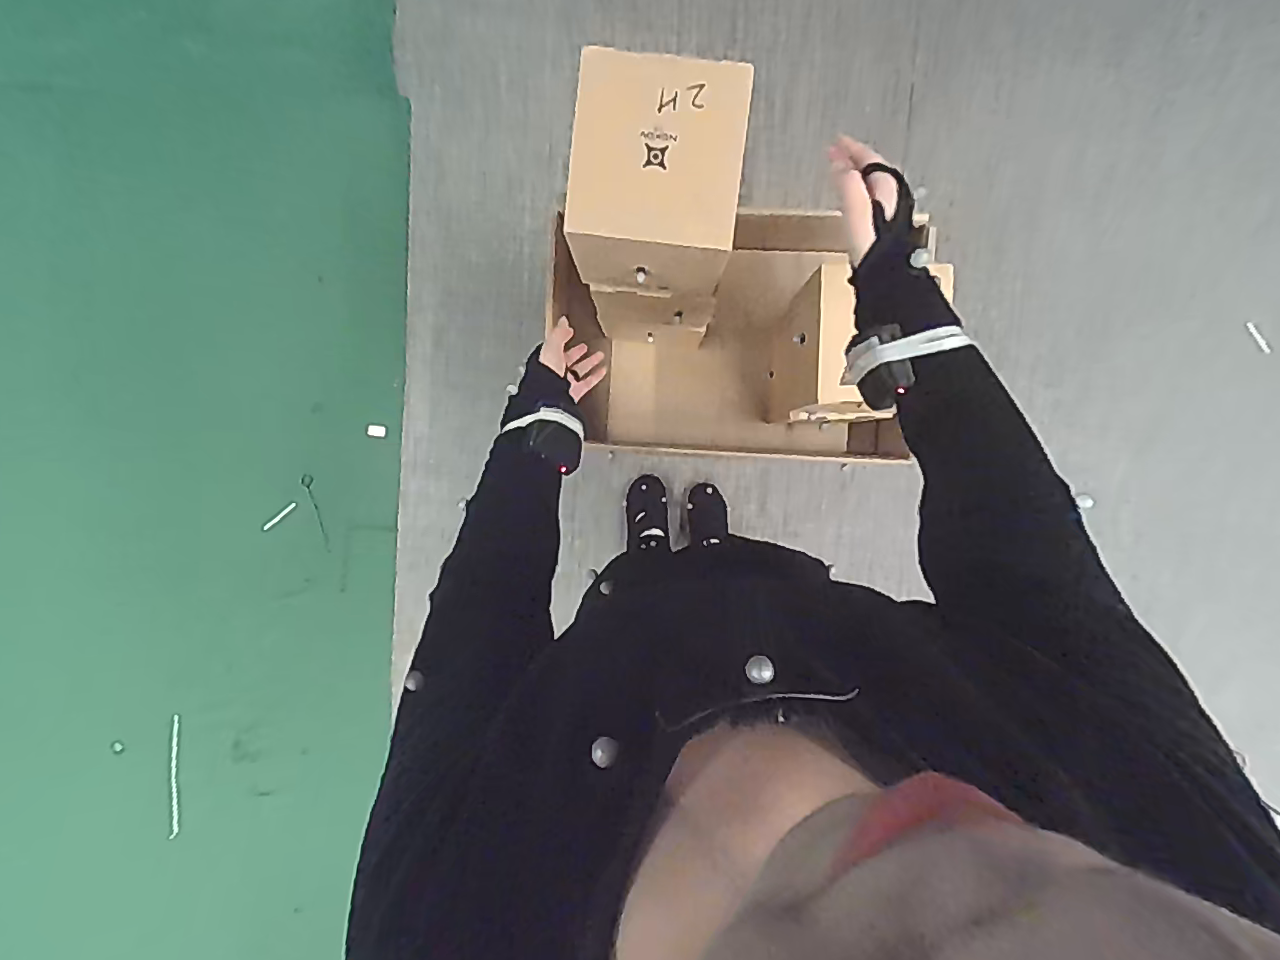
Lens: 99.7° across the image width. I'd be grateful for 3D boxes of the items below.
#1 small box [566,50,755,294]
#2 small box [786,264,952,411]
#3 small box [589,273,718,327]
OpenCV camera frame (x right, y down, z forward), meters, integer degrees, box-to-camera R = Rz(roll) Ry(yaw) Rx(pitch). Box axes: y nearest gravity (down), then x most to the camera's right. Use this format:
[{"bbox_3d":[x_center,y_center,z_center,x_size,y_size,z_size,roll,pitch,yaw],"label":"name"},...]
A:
[{"bbox_3d":[0.020,-0.318,0.598,0.168,0.176,0.179,7,94,-1],"label":"small box"},{"bbox_3d":[0.308,-0.188,0.759,0.168,0.176,0.179,1,94,1],"label":"small box"},{"bbox_3d":[0.026,-0.323,0.762,0.168,0.176,0.179,6,93,0],"label":"small box"}]
